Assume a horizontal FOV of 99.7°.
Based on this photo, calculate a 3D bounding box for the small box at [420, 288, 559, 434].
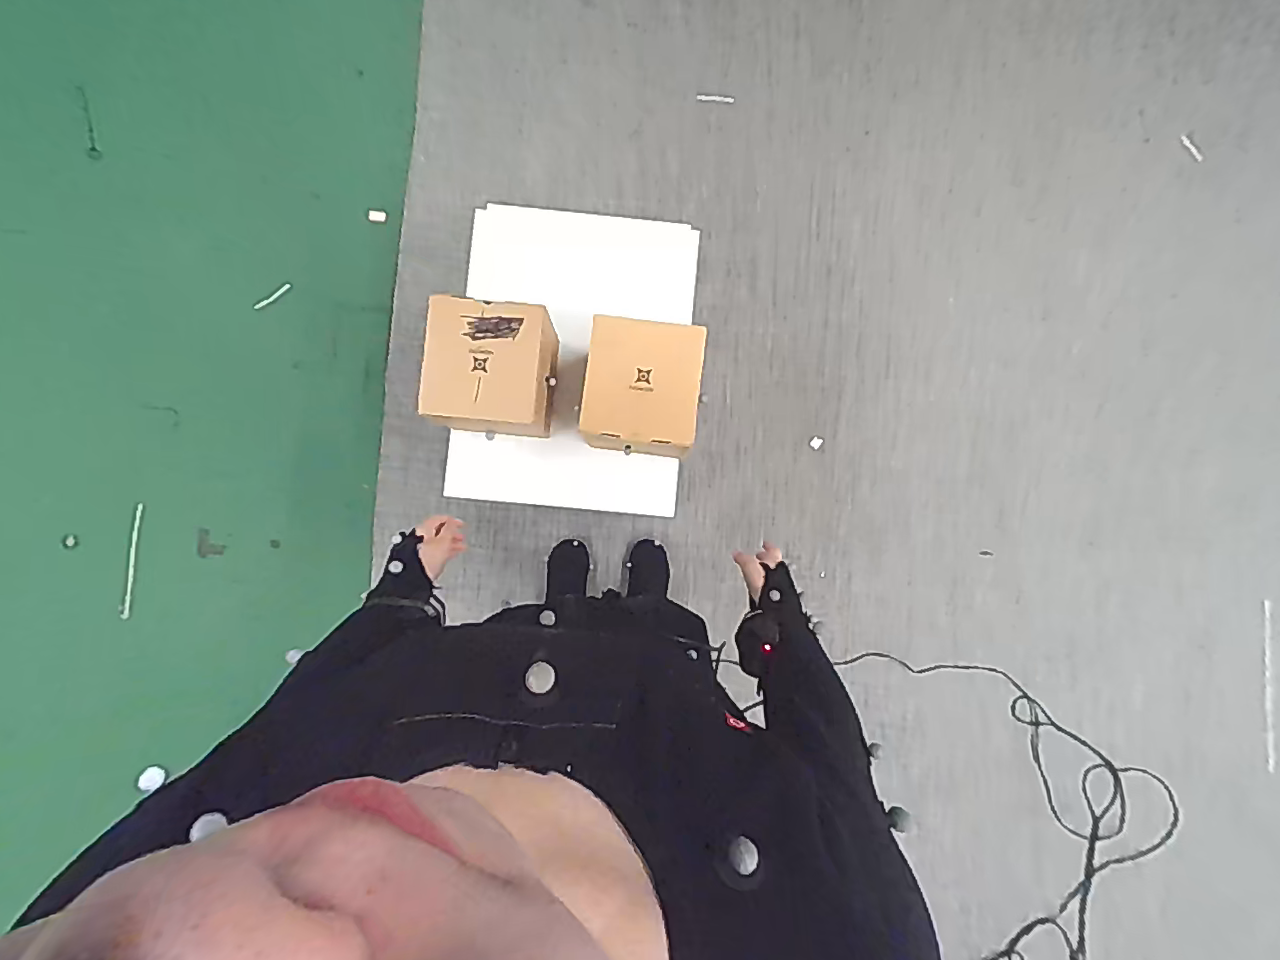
[{"bbox_3d":[-0.223,-0.176,0.847,0.168,0.176,0.179,6,88,-1],"label":"small box"}]

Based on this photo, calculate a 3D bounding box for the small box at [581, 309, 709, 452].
[{"bbox_3d":[0.007,-0.146,0.850,0.168,0.176,0.179,7,88,1],"label":"small box"}]
